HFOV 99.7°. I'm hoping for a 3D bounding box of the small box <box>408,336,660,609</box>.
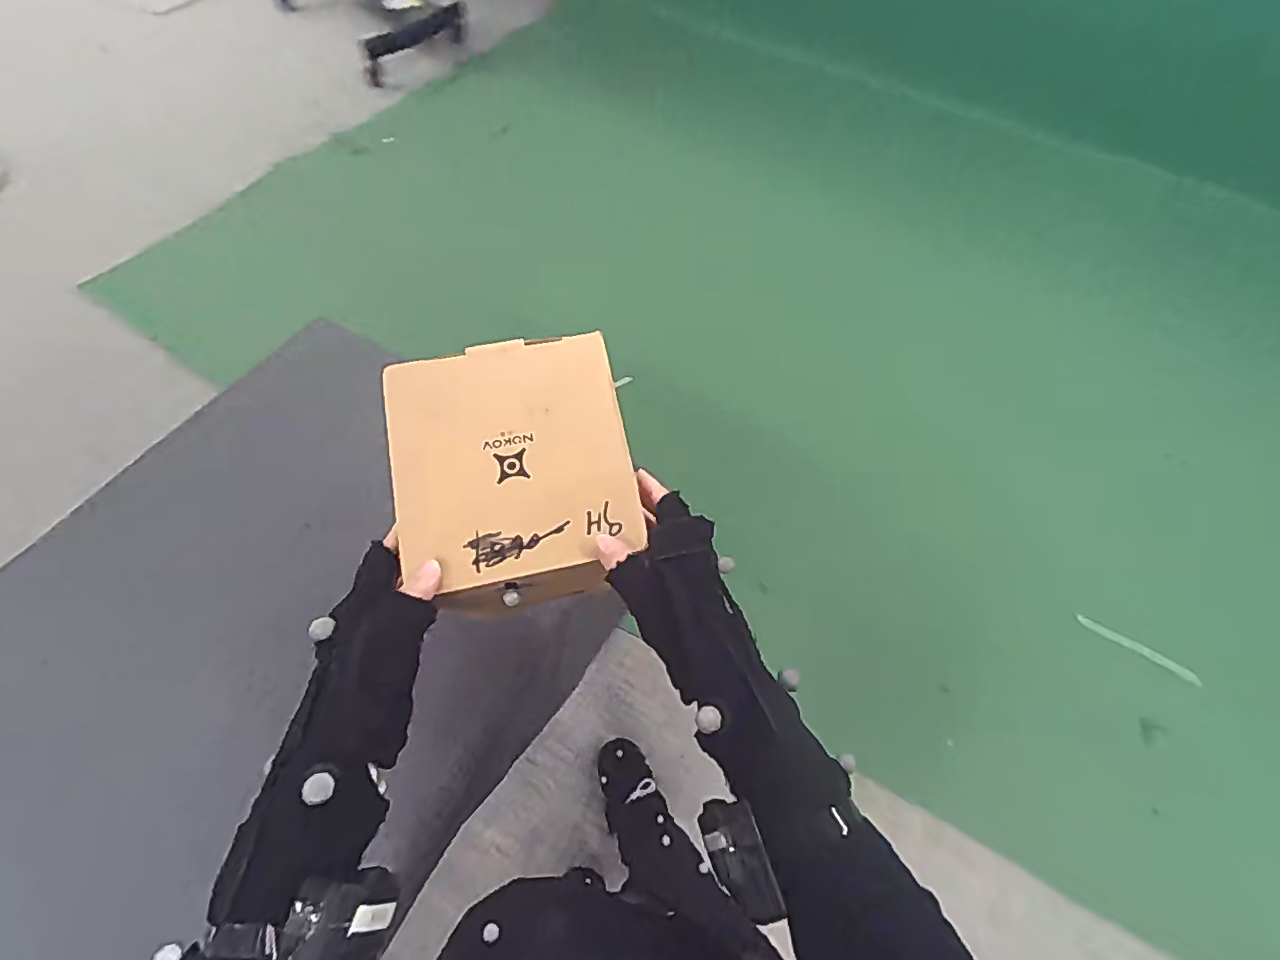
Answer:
[{"bbox_3d":[-0.082,0.005,0.463,0.168,0.176,0.179,-10,74,-4],"label":"small box"}]
